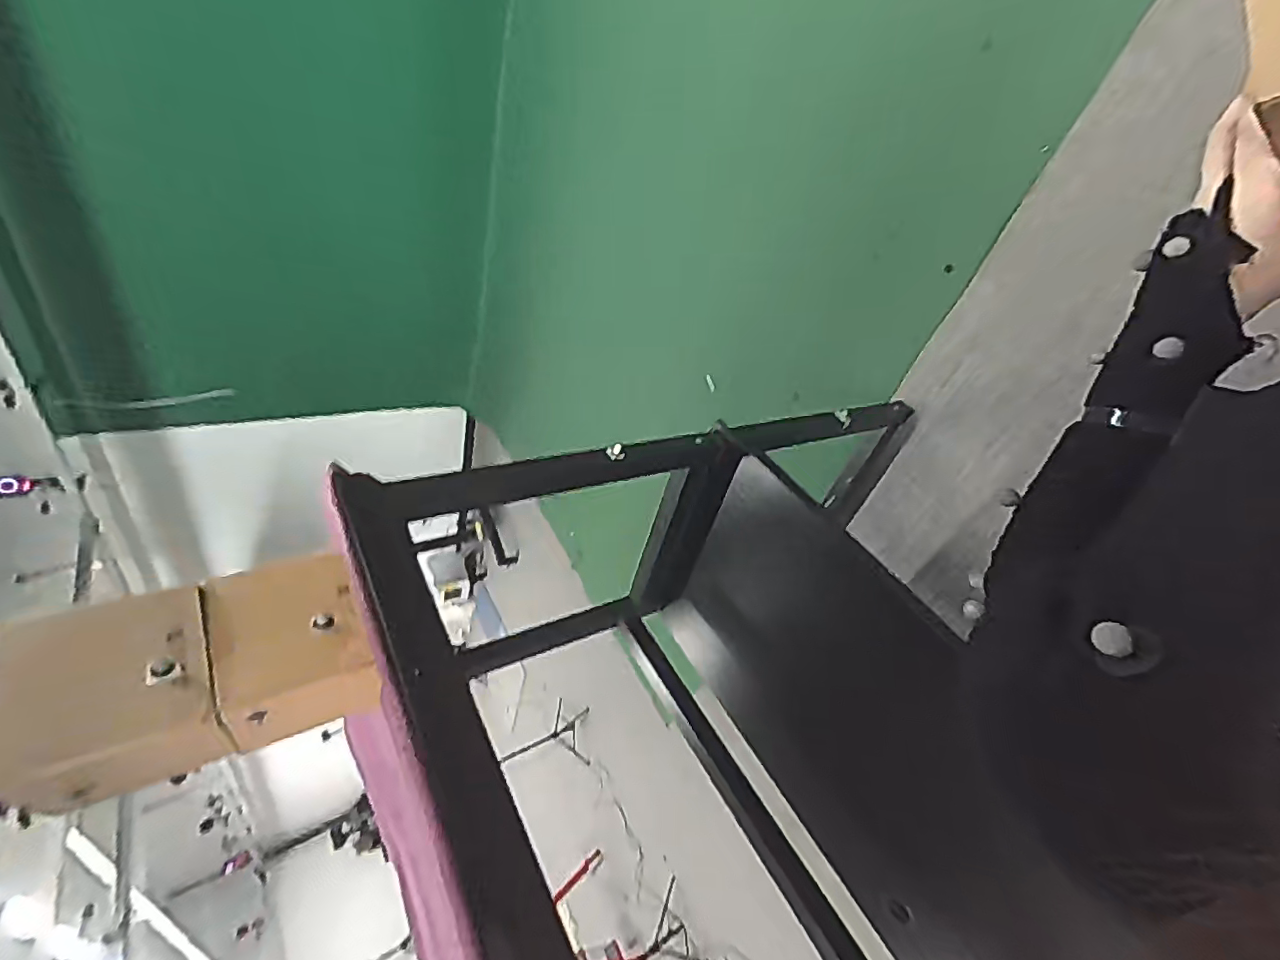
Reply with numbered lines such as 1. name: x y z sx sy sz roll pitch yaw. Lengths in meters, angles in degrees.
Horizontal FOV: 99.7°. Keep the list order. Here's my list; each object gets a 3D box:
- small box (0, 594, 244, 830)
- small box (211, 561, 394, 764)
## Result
1. small box: -0.557 0.253 0.605 0.168 0.176 0.179 59 140 23
2. small box: -0.429 0.231 0.702 0.168 0.176 0.179 58 140 26
